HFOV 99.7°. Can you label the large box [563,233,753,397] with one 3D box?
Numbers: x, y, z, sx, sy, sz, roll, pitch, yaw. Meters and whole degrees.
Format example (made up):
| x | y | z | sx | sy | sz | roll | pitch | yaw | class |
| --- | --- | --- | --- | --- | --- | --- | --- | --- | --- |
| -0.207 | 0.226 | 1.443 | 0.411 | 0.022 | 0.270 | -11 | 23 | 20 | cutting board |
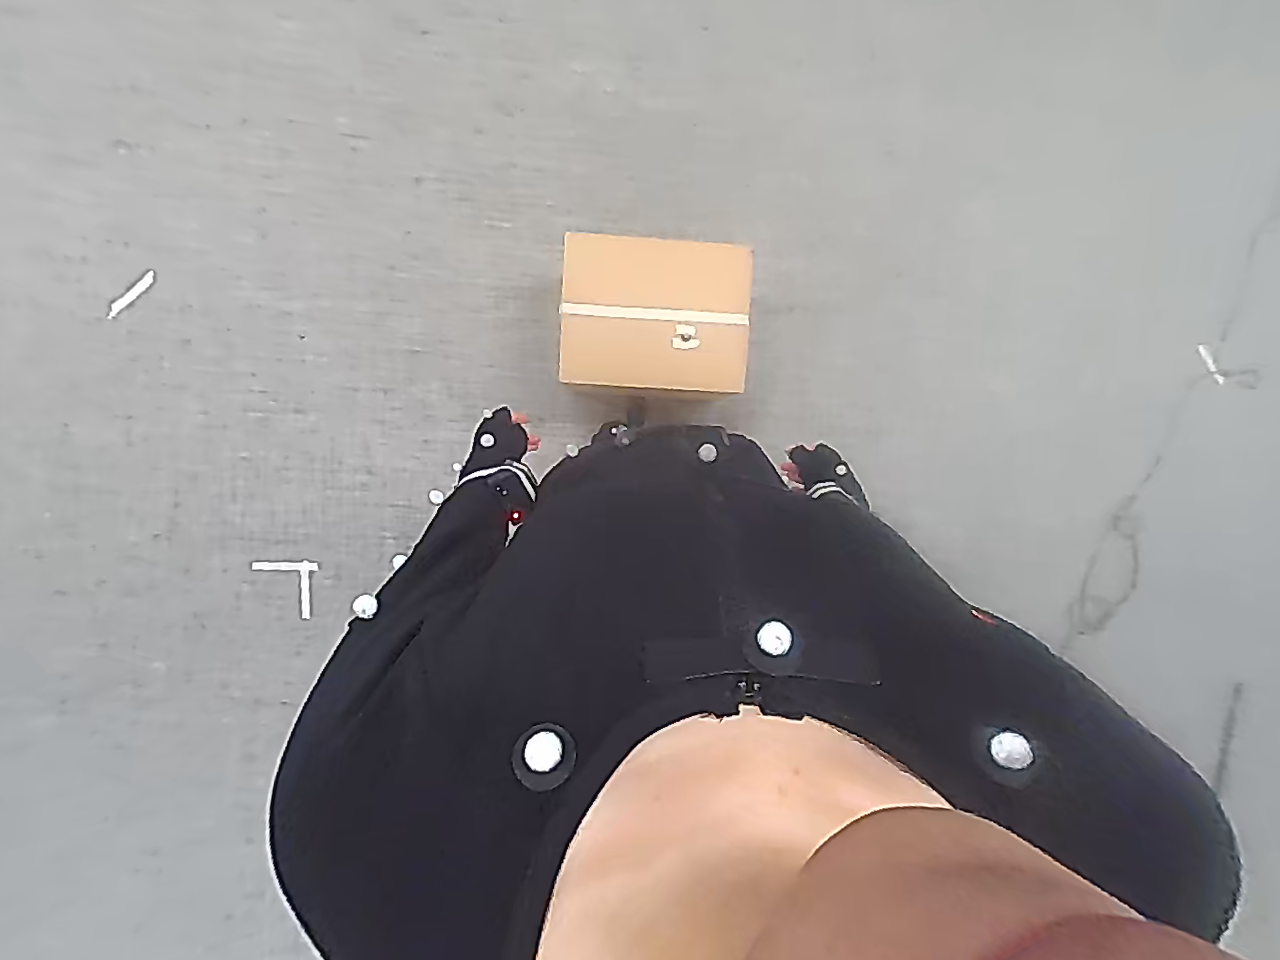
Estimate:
| x | y | z | sx | sy | sz | roll | pitch | yaw | class |
| --- | --- | --- | --- | --- | --- | --- | --- | --- | --- |
| 0.027 | -0.371 | 1.301 | 0.408 | 0.320 | 0.320 | 3 | 96 | -4 | large box |
